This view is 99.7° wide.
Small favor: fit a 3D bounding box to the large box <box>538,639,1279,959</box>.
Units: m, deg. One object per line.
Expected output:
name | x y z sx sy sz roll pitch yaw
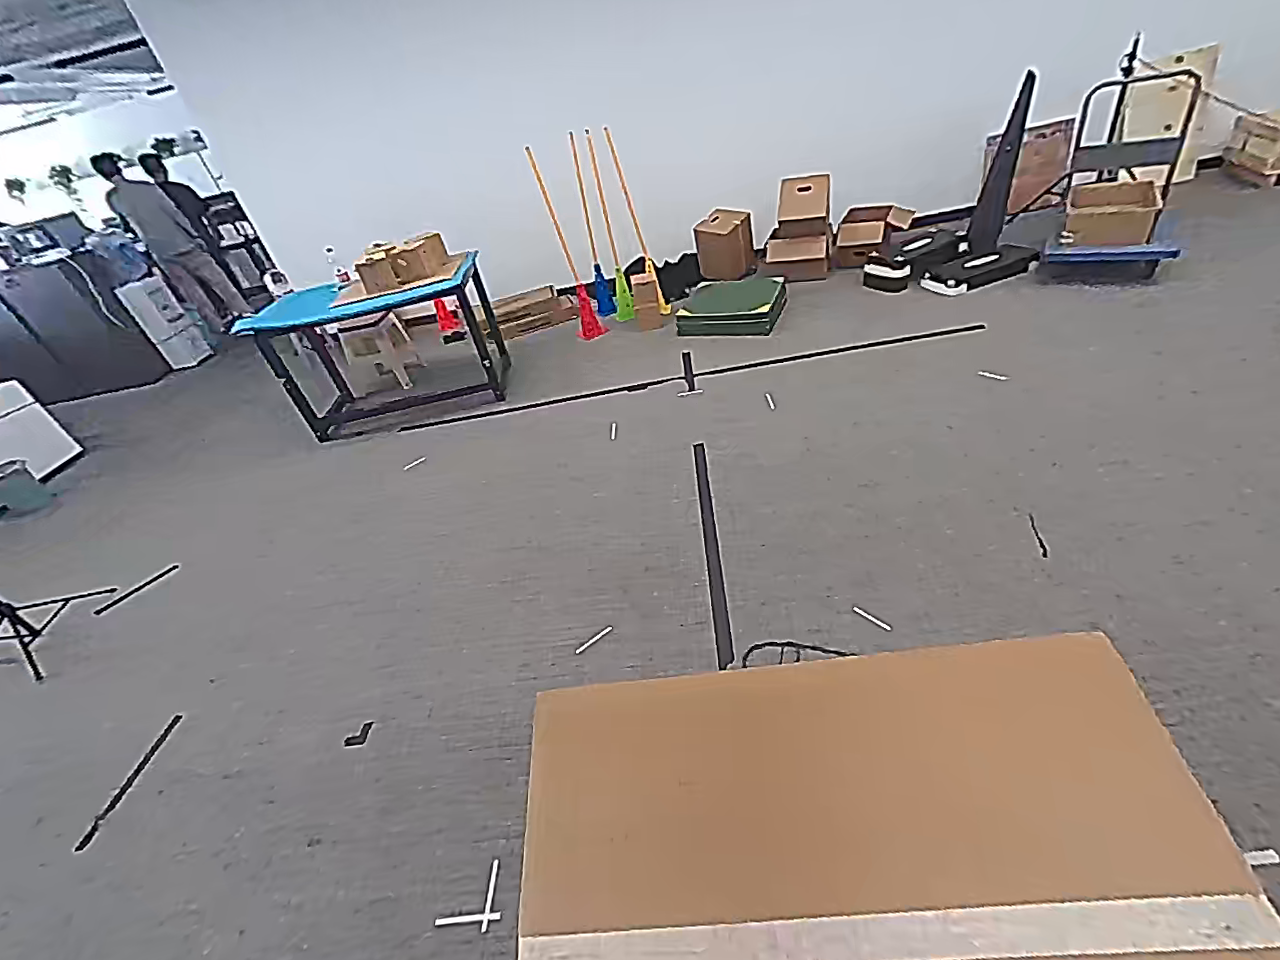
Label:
large box | 0.157 0.354 0.423 0.408 0.320 0.320 -9 52 7
